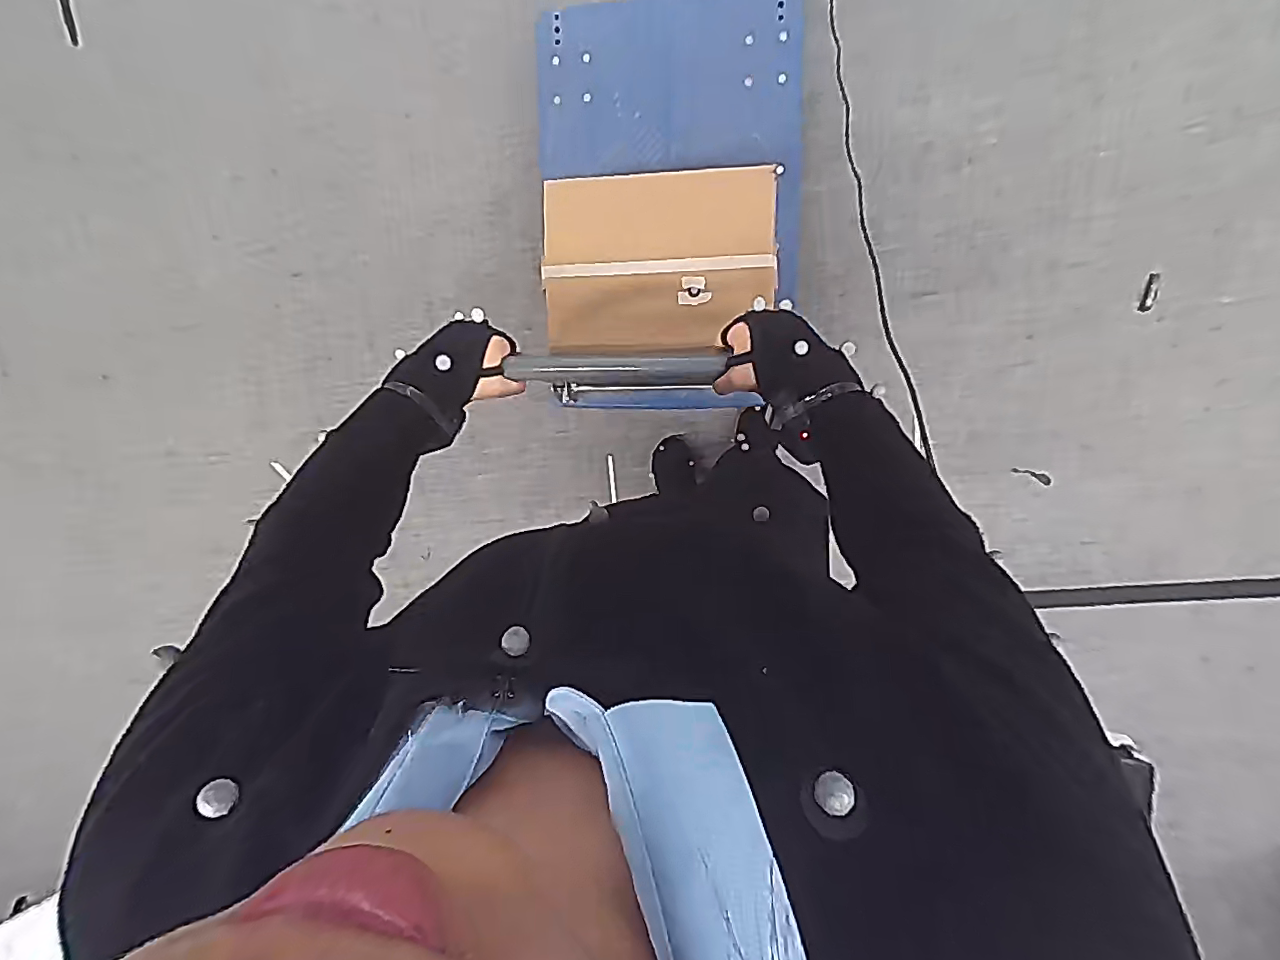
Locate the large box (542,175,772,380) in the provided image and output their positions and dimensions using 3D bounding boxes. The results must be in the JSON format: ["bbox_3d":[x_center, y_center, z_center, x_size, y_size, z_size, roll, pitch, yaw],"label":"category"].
[{"bbox_3d":[0.044,-0.374,1.091,0.408,0.320,0.320,0,97,7],"label":"large box"}]
